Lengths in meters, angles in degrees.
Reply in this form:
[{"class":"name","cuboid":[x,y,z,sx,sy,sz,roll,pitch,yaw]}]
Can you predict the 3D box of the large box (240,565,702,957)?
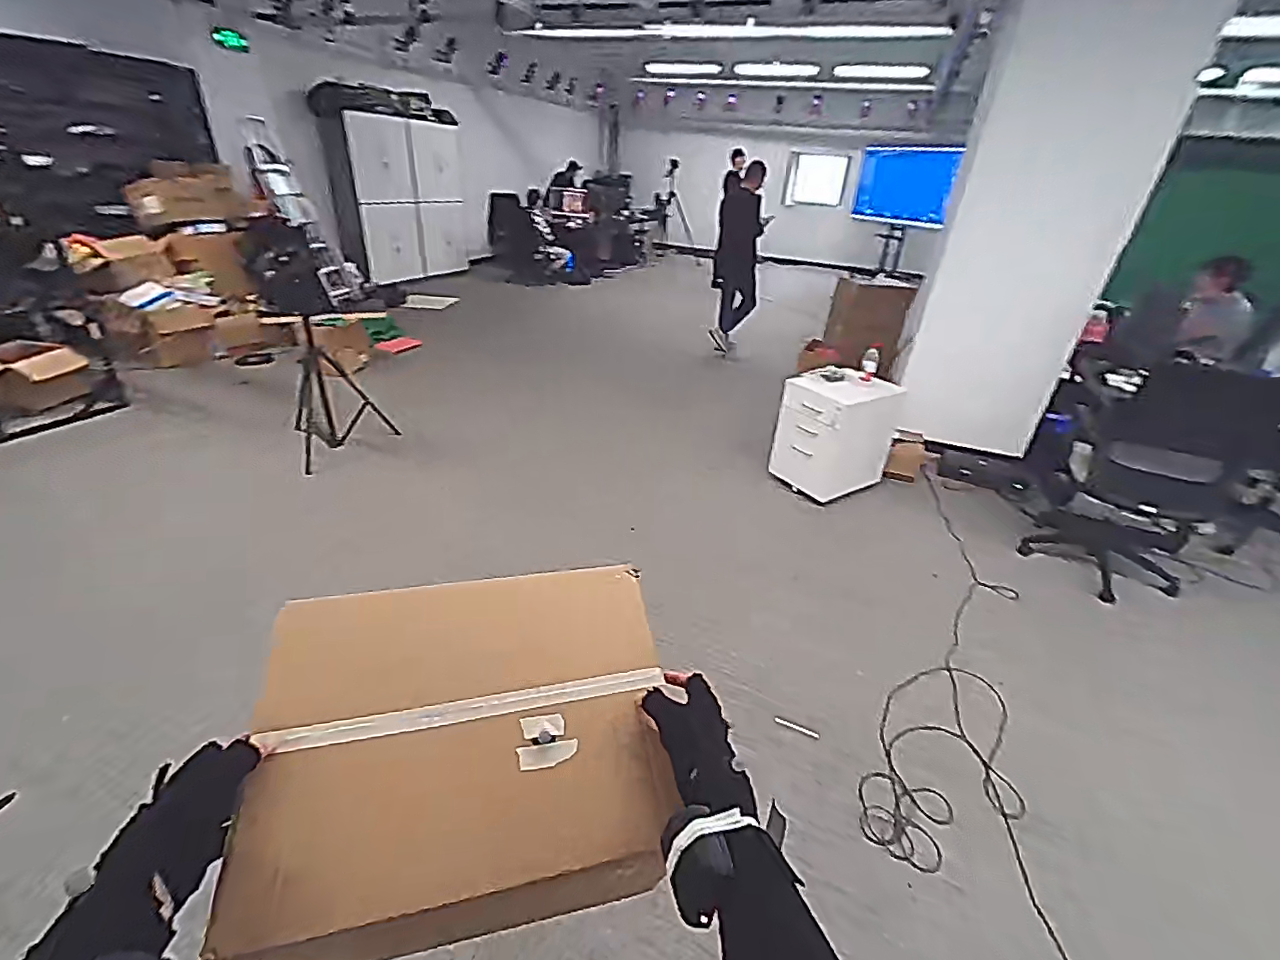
[{"class":"large box","cuboid":[-0.183,0.338,0.679,0.408,0.320,0.320,-3,48,-14]}]
